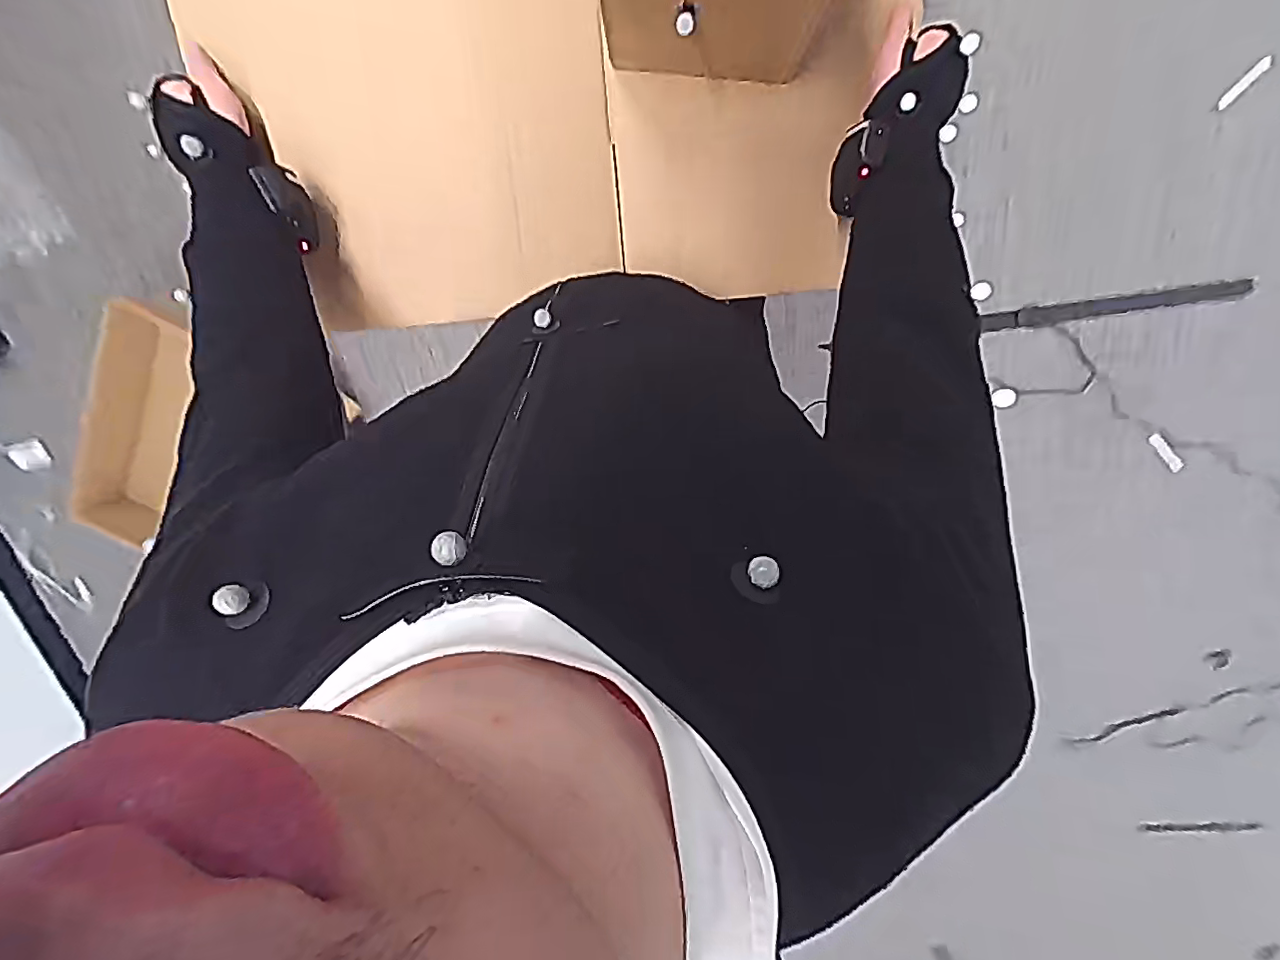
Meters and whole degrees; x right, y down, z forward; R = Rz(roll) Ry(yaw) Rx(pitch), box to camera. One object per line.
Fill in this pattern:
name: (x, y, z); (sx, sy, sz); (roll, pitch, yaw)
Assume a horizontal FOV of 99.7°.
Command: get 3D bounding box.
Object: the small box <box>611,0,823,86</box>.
small box: (0.068, -0.451, 0.436); (0.179, 0.176, 0.168); (7, 104, 2)
